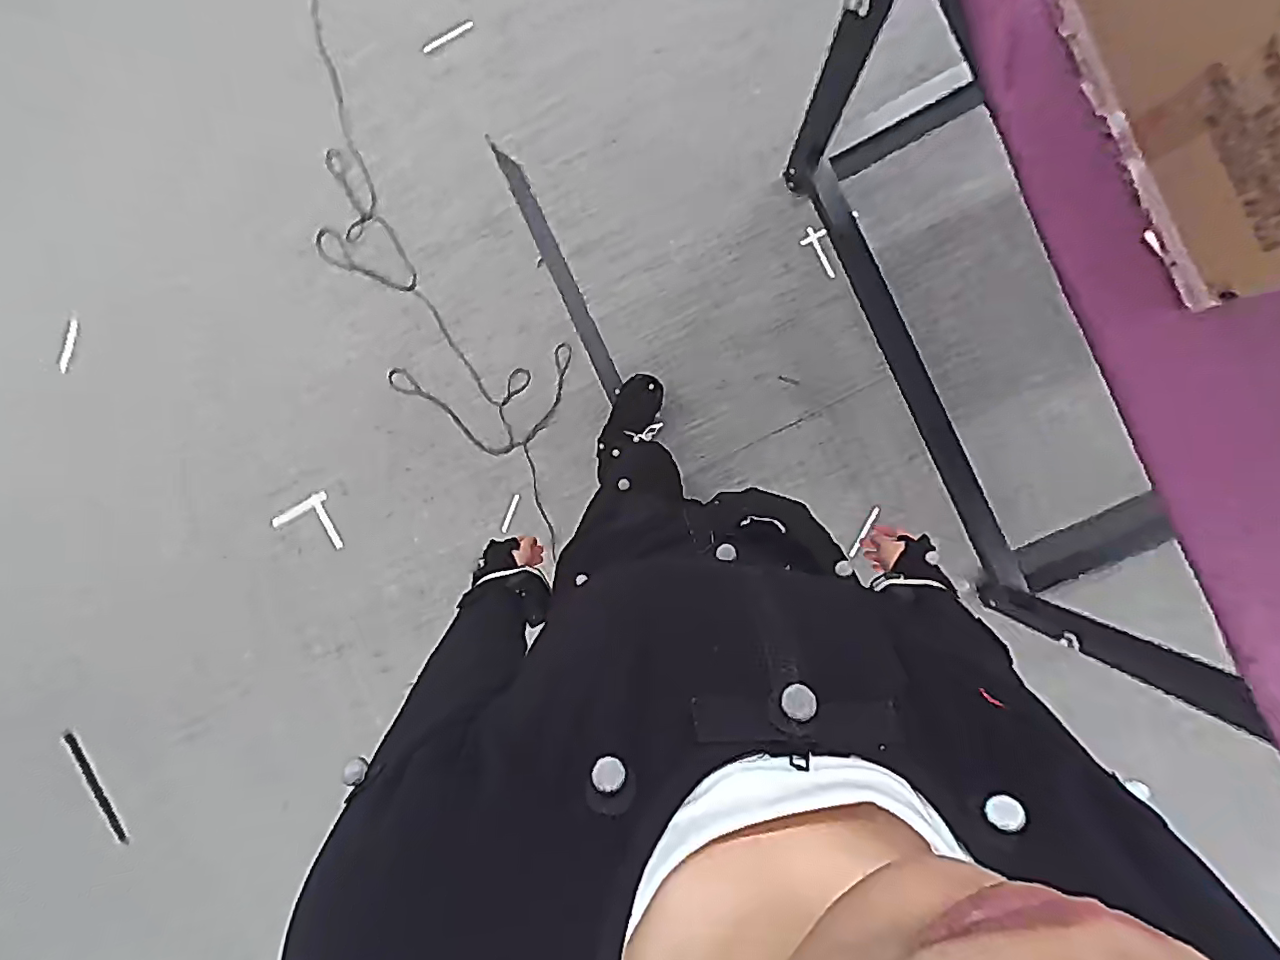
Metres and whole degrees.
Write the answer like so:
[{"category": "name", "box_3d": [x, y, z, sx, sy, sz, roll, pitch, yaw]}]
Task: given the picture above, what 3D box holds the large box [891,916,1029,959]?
[{"category": "large box", "box_3d": [0.853, 1.349, 1.237, 0.320, 0.320, 0.408, -27, 90, 5]}]
